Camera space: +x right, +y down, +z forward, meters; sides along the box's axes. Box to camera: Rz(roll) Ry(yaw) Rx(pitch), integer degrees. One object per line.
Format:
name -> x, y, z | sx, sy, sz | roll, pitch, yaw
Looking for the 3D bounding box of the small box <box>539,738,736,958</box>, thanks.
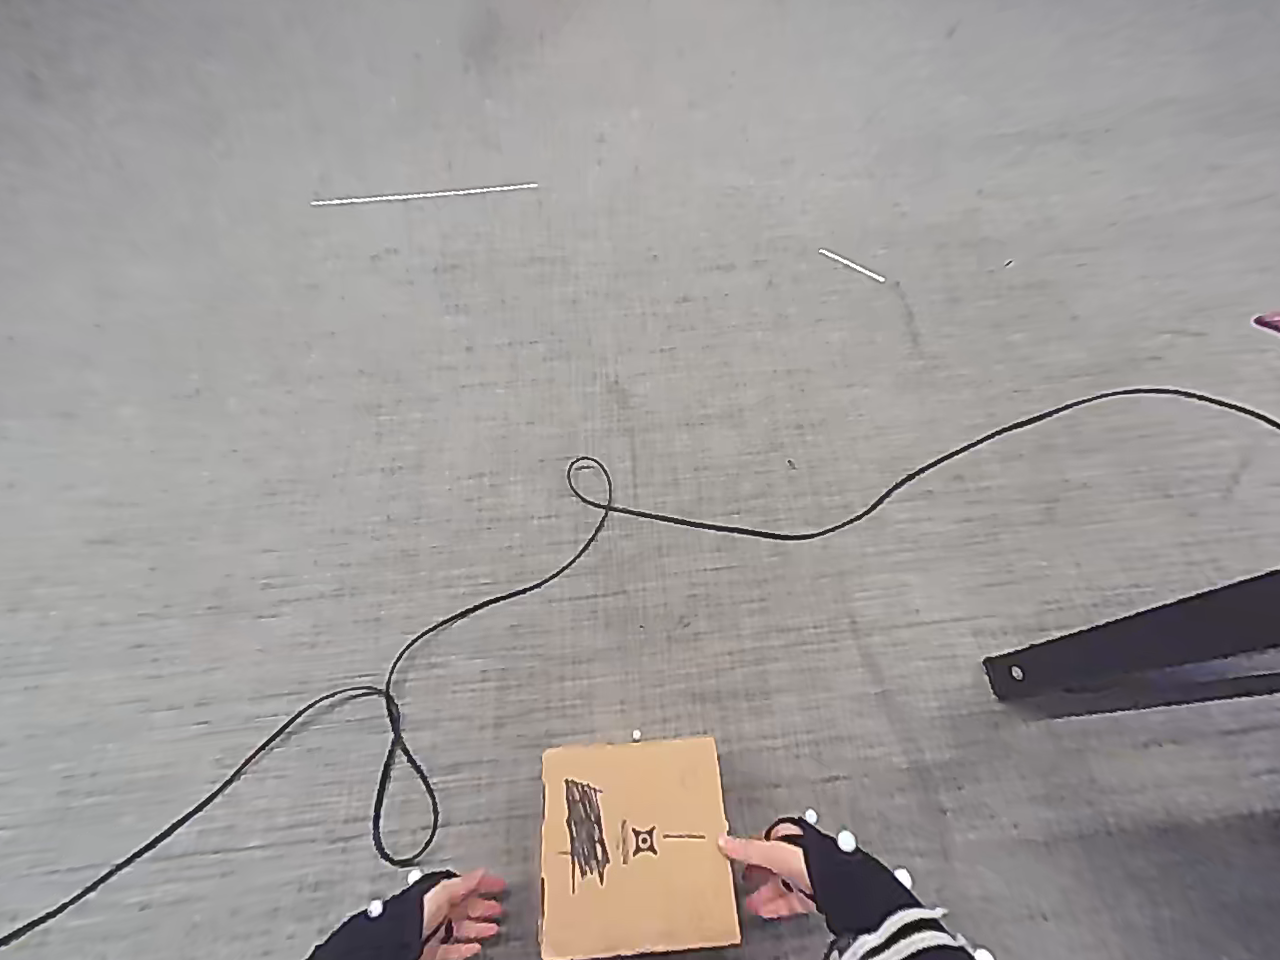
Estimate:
small box -> -0.007, 0.375, 0.577 | 0.179, 0.176, 0.168 | -3, 63, -3
